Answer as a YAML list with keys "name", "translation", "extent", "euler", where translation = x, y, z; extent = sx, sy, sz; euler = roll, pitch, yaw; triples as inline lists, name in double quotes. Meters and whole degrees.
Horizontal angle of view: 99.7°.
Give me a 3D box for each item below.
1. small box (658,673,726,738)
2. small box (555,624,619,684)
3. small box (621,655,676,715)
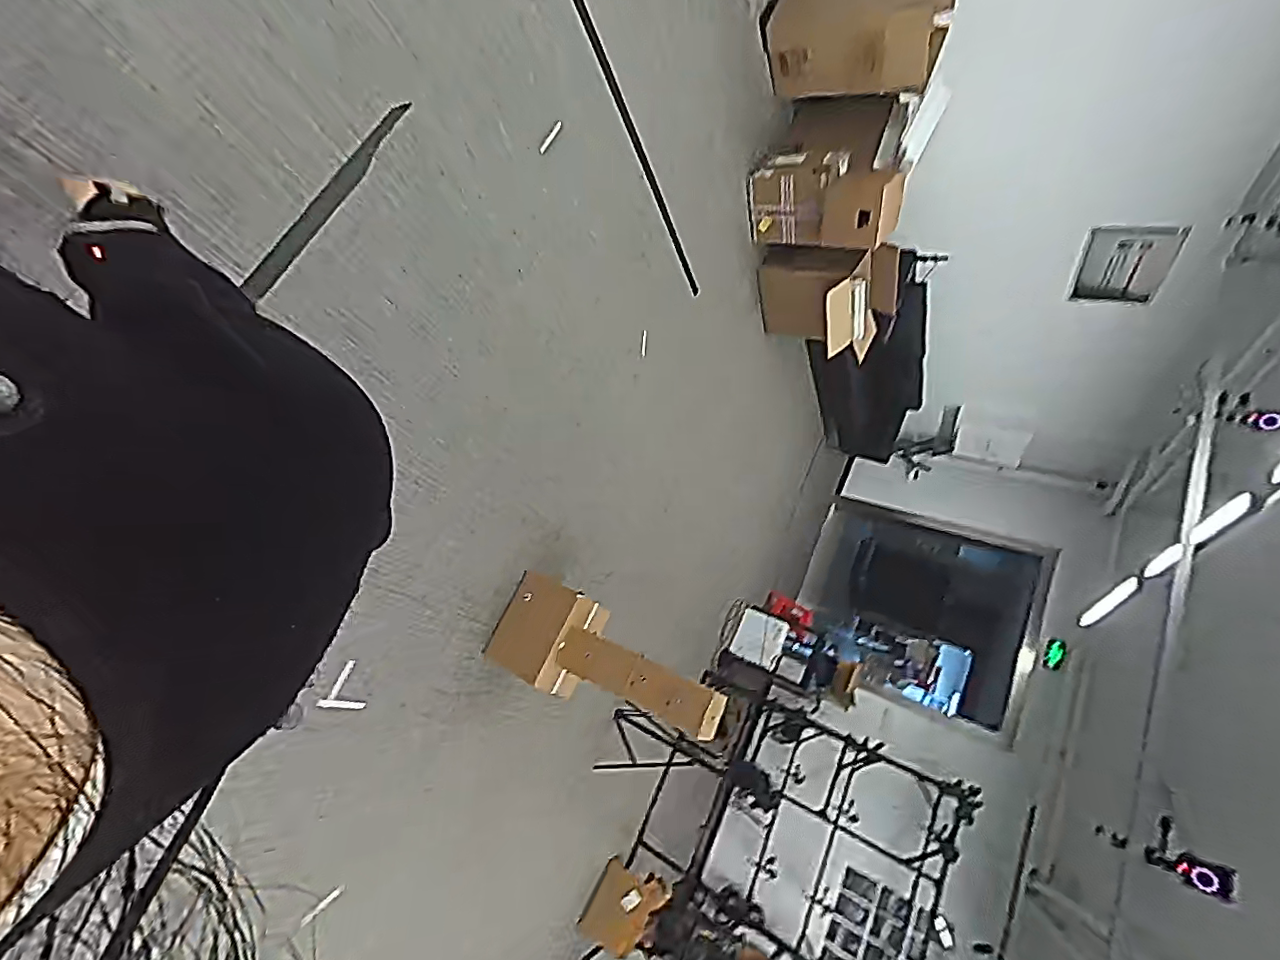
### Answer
- name: "small box"
  translation: [0.192, 0.835, 2.004]
  extent: [0.179, 0.176, 0.168]
  euler: [45, 65, -54]
- name: "small box"
  translation: [-0.222, 0.720, 2.243]
  extent: [0.179, 0.176, 0.168]
  euler: [-64, 147, -14]
- name: "small box"
  translation: [0.055, 0.795, 2.086]
  extent: [0.168, 0.176, 0.179]
  euler: [-64, 147, -15]
